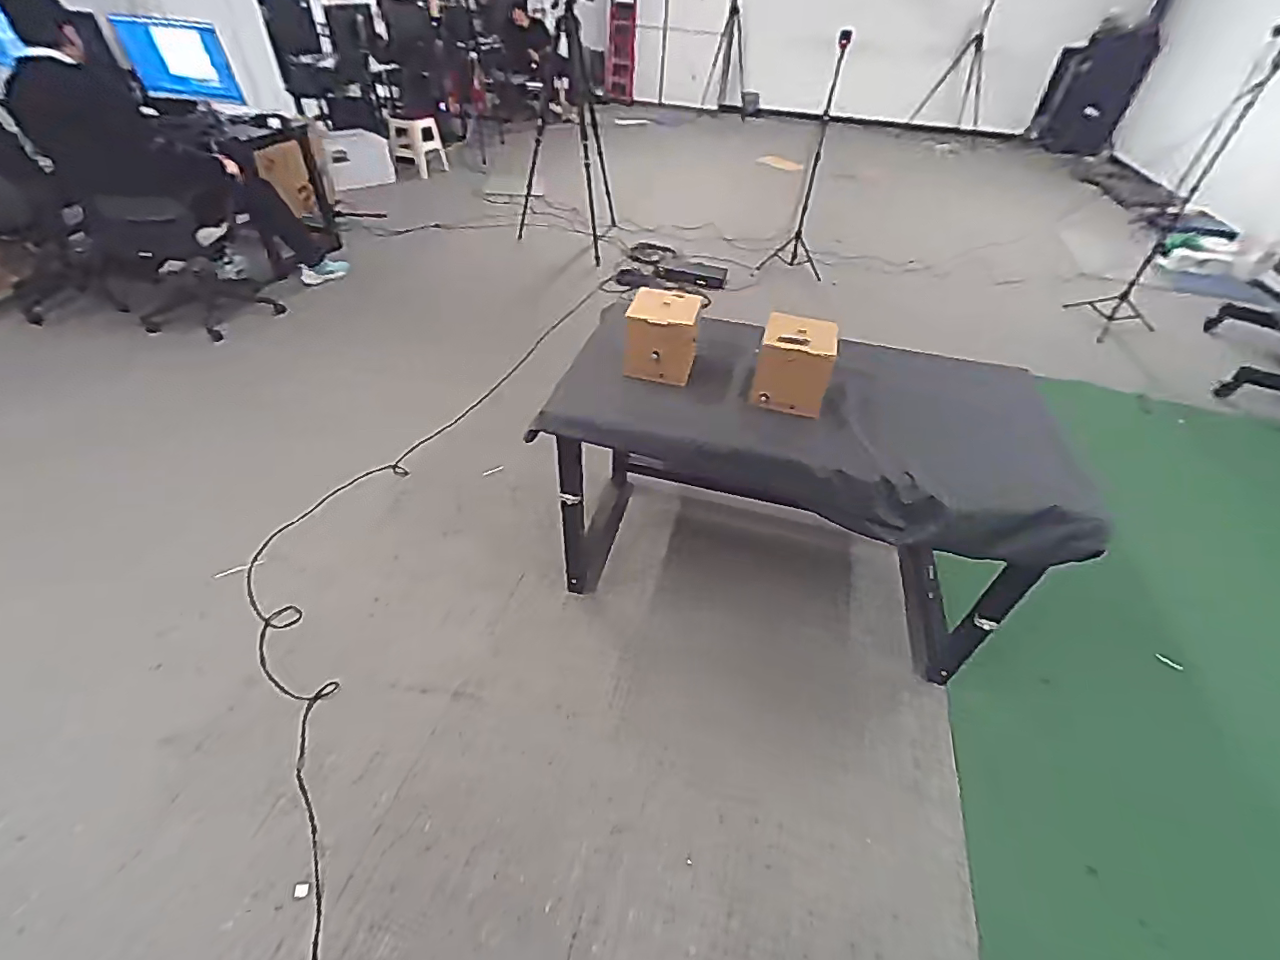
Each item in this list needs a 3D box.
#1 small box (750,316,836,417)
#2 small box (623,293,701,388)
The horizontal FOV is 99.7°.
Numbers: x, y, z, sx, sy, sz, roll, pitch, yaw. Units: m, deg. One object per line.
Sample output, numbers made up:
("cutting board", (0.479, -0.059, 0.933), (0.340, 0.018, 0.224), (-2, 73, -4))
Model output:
("small box", (0.370, -0.276, 1.319), (0.168, 0.176, 0.179), (13, 42, 11))
("small box", (0.058, -0.357, 1.391), (0.168, 0.176, 0.179), (11, 44, 8))
